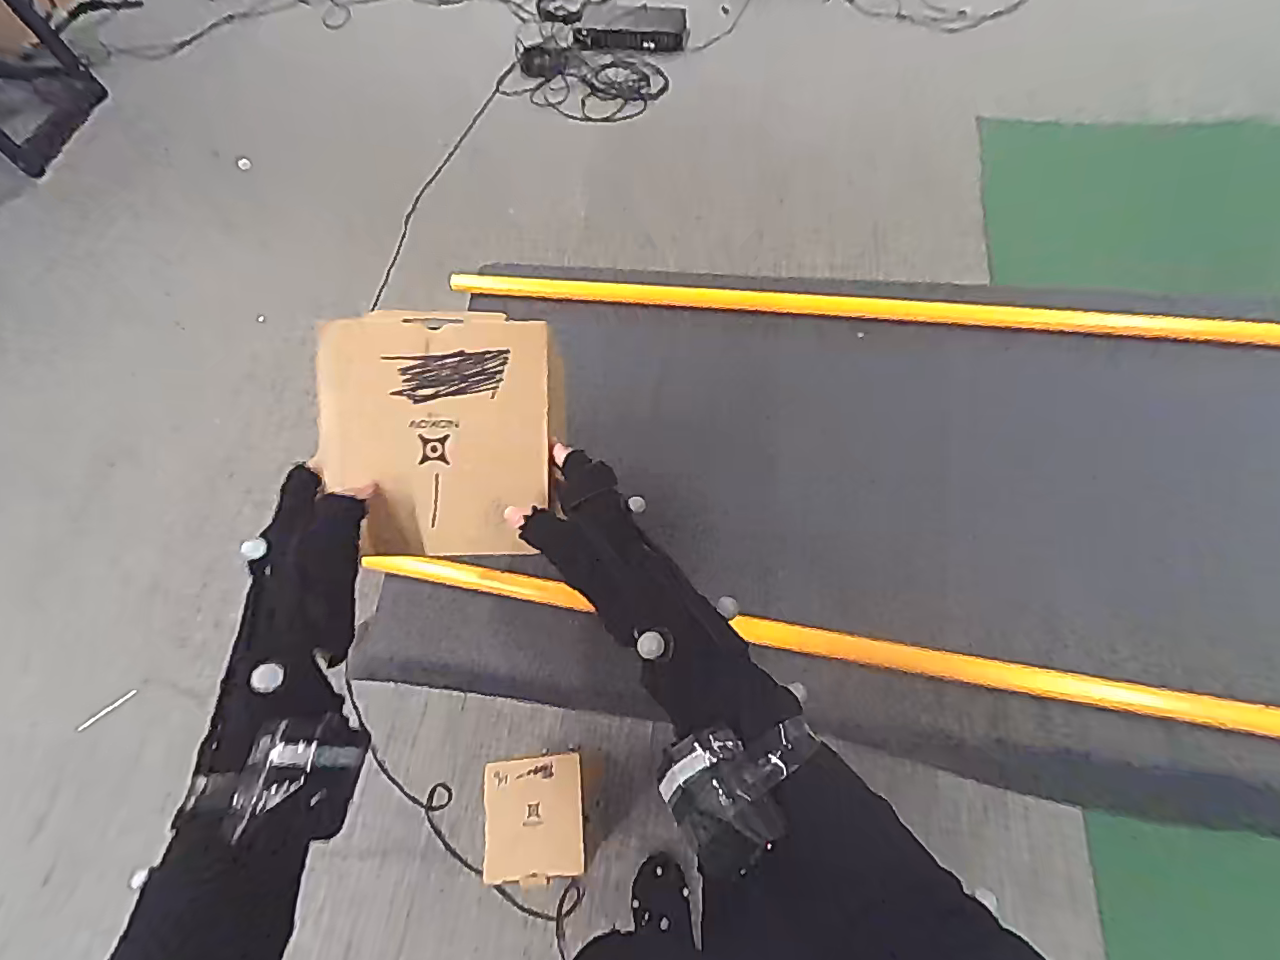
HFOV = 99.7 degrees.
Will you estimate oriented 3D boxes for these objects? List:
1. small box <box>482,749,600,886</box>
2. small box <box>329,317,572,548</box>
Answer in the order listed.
[{"bbox_3d":[-0.172,0.589,0.964,0.168,0.176,0.179,-10,64,2],"label":"small box"},{"bbox_3d":[-0.151,-0.032,0.486,0.168,0.176,0.179,0,88,-3],"label":"small box"}]
